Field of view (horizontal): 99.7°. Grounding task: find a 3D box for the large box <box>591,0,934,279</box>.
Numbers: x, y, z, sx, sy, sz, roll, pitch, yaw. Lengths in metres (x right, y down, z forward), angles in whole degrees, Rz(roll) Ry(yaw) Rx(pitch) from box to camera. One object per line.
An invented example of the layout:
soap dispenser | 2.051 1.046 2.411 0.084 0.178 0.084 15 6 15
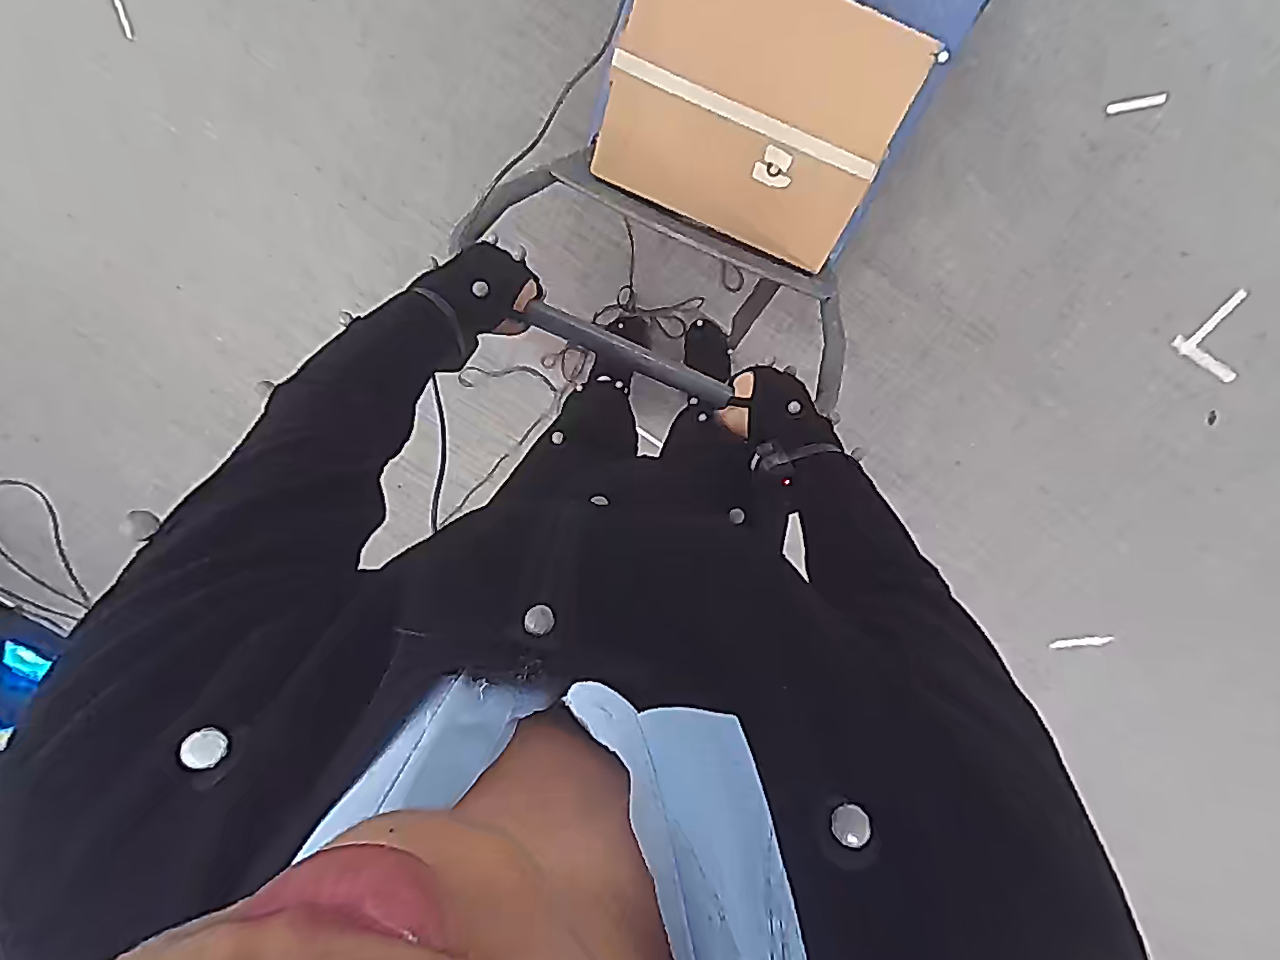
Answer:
large box | 0.177 -0.591 0.900 0.408 0.320 0.320 22 127 -3
